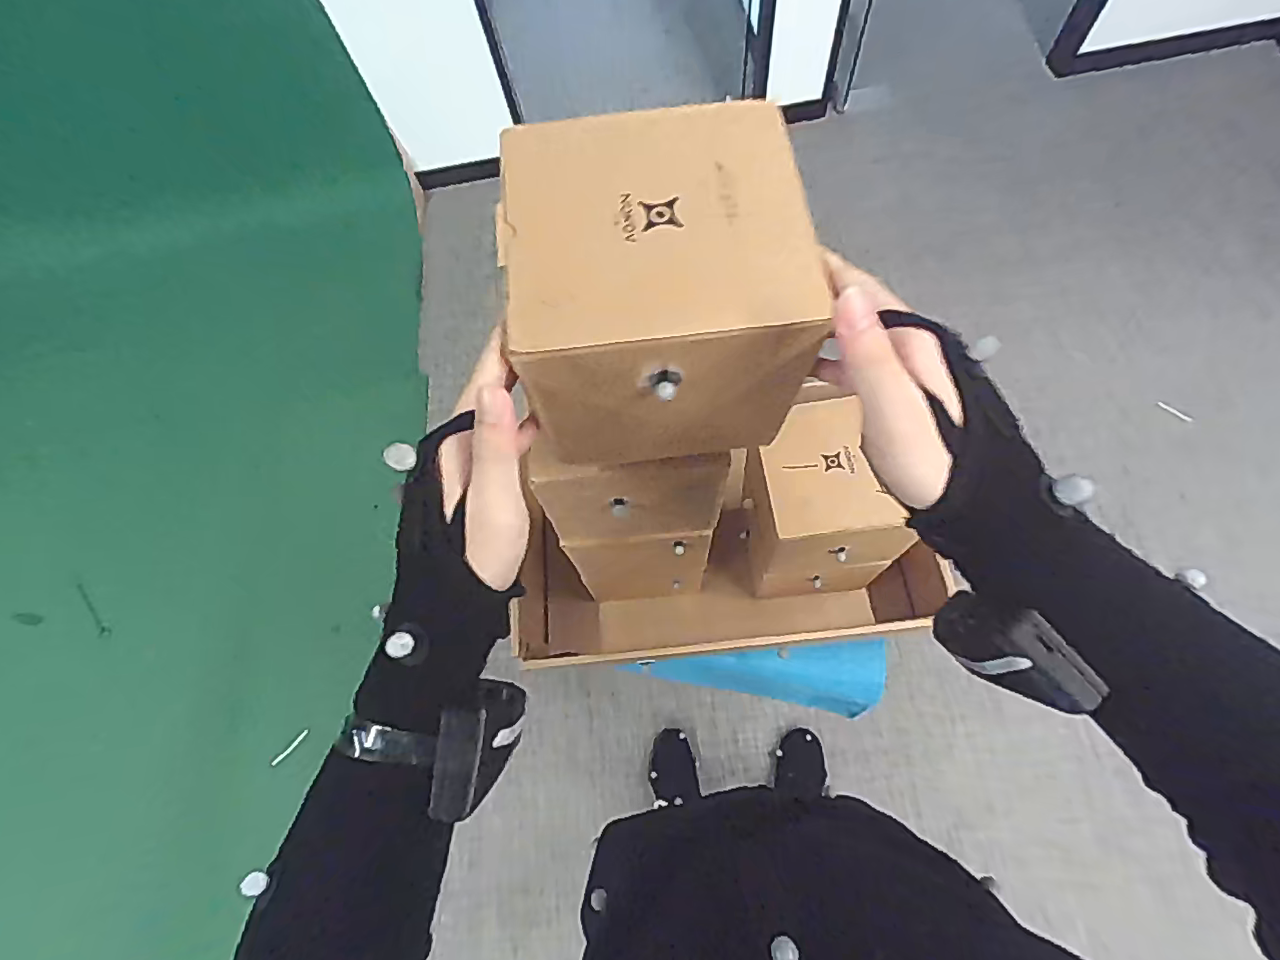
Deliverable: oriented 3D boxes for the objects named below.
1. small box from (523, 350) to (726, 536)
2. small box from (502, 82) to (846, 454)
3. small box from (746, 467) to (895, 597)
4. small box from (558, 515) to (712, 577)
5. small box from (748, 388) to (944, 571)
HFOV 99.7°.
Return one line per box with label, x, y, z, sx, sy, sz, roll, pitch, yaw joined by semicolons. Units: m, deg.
small box;-0.012;-0.049;0.558;0.179;0.176;0.168;-6;66;1
small box;0.014;-0.127;0.373;0.179;0.176;0.168;-6;70;-1
small box;0.259;0.076;0.826;0.179;0.176;0.168;-7;66;5
small box;-0.006;0.022;0.706;0.179;0.176;0.168;-6;65;0
small box;0.238;0.008;0.678;0.179;0.176;0.168;-8;65;5
